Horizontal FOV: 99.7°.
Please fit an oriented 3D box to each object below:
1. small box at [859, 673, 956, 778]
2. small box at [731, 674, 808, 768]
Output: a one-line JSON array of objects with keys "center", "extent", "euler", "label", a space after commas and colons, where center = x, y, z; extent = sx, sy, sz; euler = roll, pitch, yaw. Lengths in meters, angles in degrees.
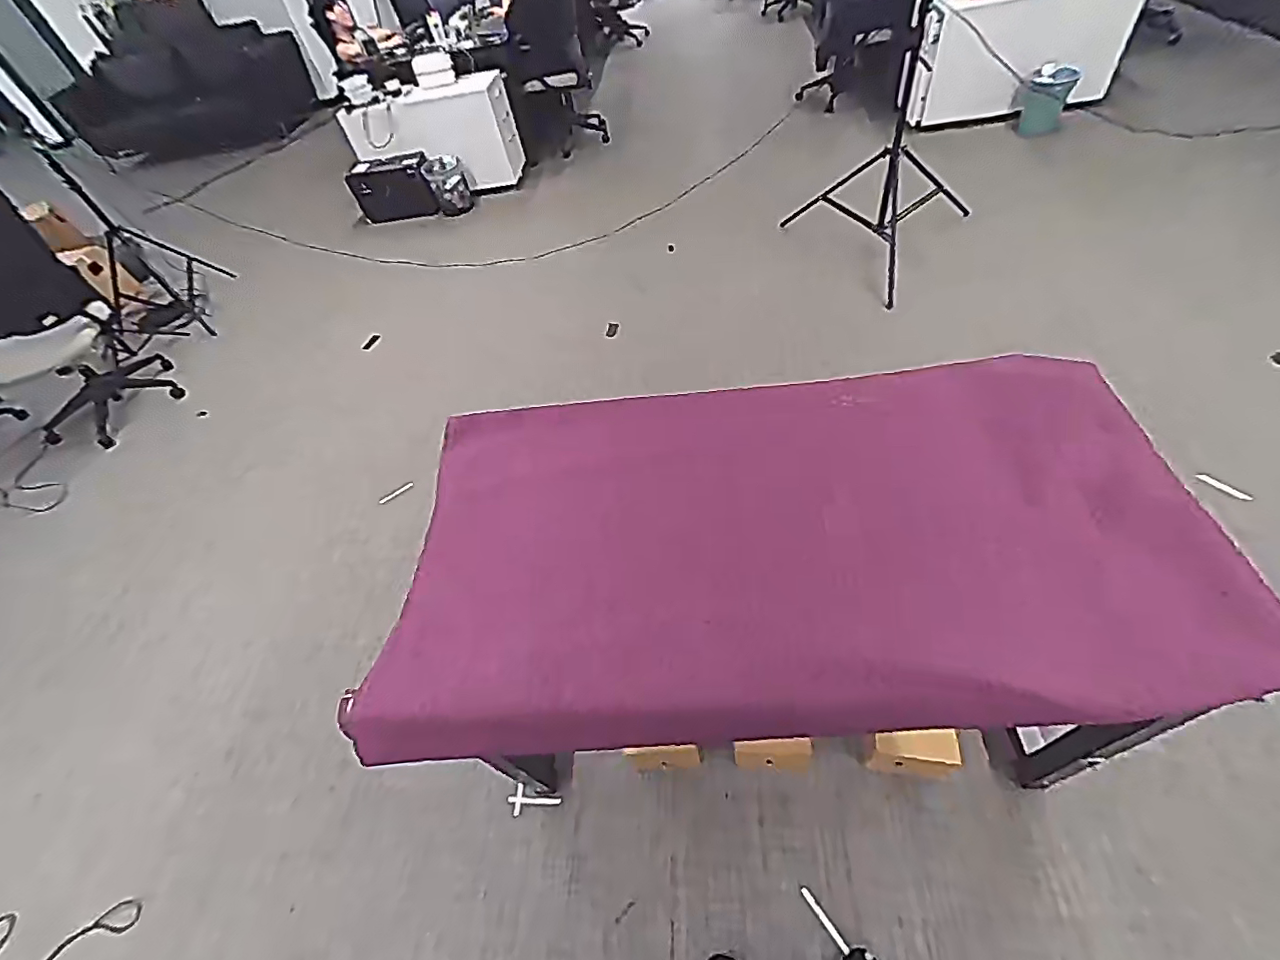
[{"center": [0.612, 0.575, 1.258], "extent": [0.168, 0.176, 0.179], "euler": [3, 51, 14], "label": "small box"}, {"center": [0.308, 0.585, 1.306], "extent": [0.168, 0.176, 0.179], "euler": [-2, 50, 9], "label": "small box"}]
